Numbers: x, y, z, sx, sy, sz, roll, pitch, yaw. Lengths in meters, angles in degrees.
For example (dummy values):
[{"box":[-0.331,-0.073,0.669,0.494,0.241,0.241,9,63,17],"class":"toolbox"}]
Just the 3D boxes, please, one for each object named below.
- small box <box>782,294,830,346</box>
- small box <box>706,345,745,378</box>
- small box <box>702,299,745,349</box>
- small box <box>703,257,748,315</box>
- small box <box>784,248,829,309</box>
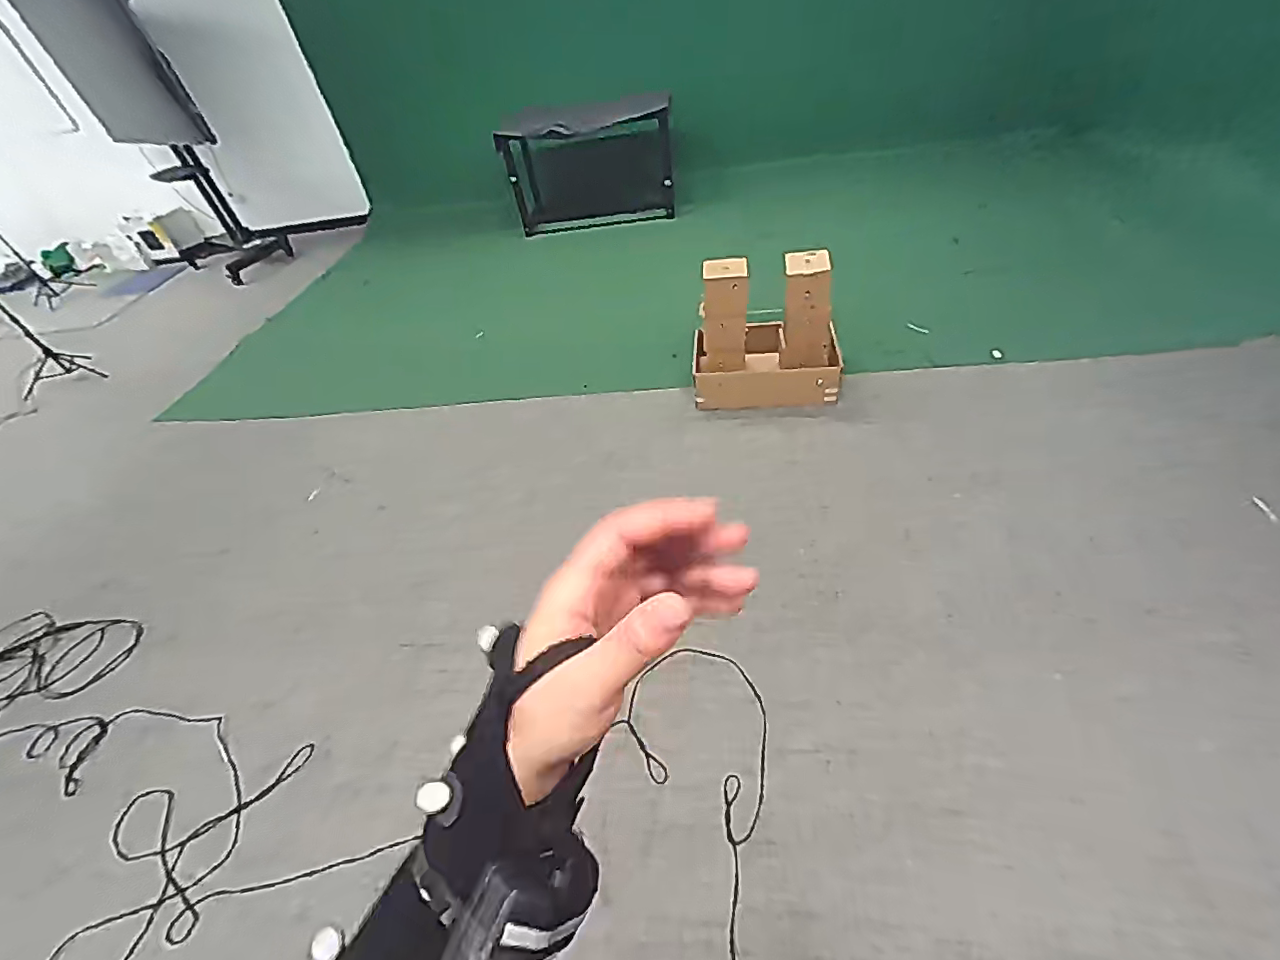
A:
[{"box":[0.695,-0.681,2.276,0.179,0.176,0.168,-3,47,10],"class":"small box"},{"box":[0.392,-0.576,2.466,0.168,0.176,0.179,-2,46,9],"class":"small box"},{"box":[0.363,-0.683,2.345,0.179,0.176,0.168,0,47,9],"class":"small box"},{"box":[0.351,-0.796,2.224,0.179,0.176,0.168,-1,45,10],"class":"small box"},{"box":[0.665,-0.800,2.167,0.168,0.176,0.179,0,48,13],"class":"small box"}]
